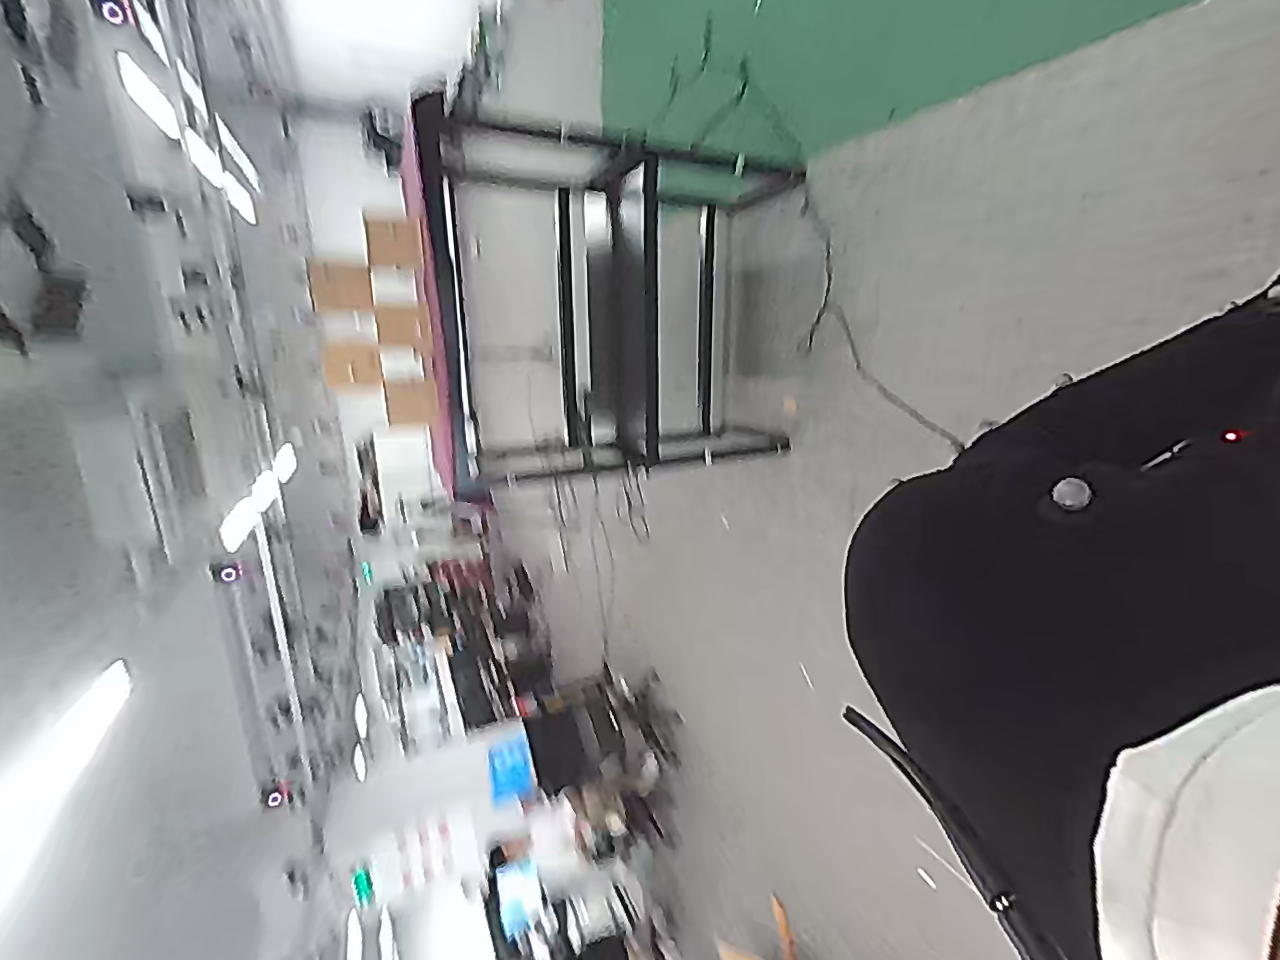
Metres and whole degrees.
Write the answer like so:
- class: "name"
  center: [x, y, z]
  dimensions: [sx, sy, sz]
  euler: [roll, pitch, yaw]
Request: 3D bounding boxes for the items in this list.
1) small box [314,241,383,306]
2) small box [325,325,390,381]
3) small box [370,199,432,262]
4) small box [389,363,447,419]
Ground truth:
- class: "small box"
  center: [-0.918, -0.647, 1.710]
  dimensions: [0.168, 0.176, 0.179]
  euler: [-148, 55, -62]
- class: "small box"
  center: [-0.916, -0.419, 1.769]
  dimensions: [0.179, 0.176, 0.168]
  euler: [-148, 55, -61]
- class: "small box"
  center: [-0.769, -0.800, 1.747]
  dimensions: [0.179, 0.176, 0.168]
  euler: [-144, 52, -61]
- class: "small box"
  center: [-0.770, -0.310, 1.869]
  dimensions: [0.168, 0.176, 0.179]
  euler: [-151, 59, -62]
